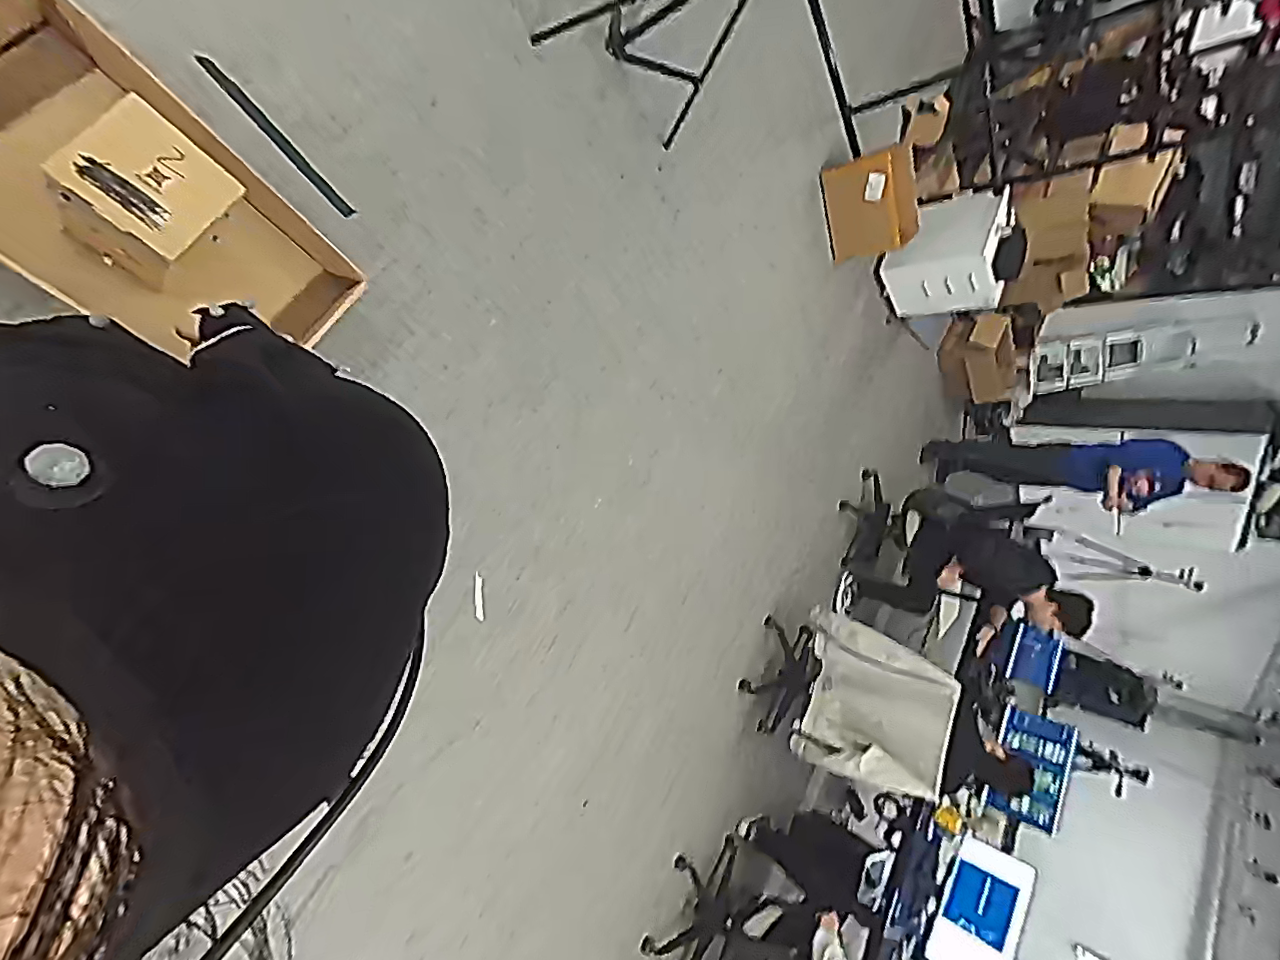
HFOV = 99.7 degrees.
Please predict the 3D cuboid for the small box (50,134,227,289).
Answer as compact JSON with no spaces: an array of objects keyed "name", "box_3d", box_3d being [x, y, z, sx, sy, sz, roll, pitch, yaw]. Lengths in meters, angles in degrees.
[{"name":"small box","box_3d":[-0.907,-0.476,0.984,0.168,0.176,0.179,44,66,-39]}]
